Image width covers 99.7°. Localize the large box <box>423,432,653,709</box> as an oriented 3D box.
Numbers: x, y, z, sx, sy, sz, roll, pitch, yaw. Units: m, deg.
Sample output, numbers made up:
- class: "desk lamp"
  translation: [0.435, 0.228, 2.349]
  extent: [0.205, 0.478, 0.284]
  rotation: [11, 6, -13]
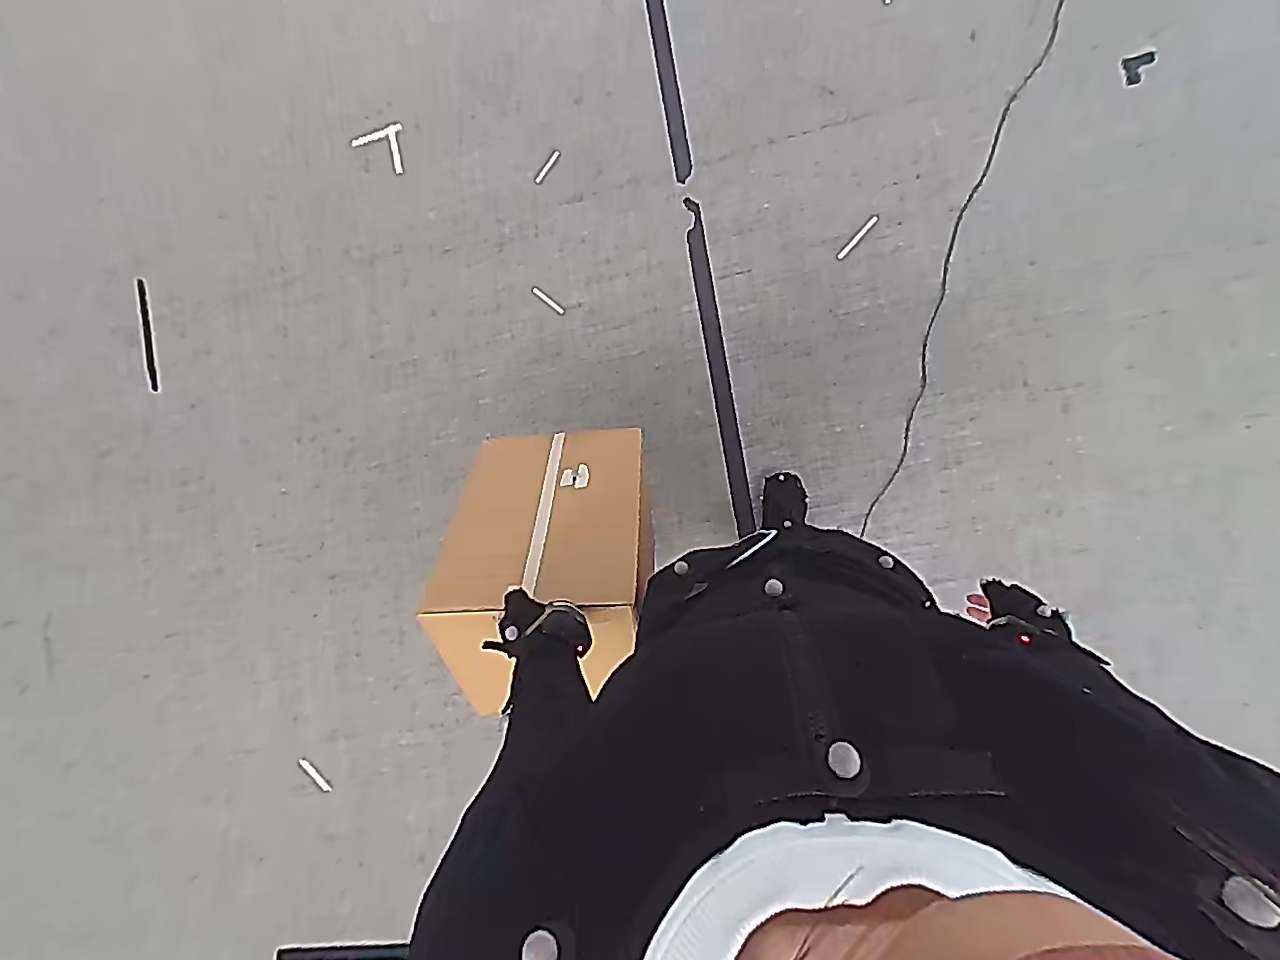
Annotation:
- class: "large box"
  translation: [-0.144, 0.160, 1.005]
  extent: [0.320, 0.408, 0.320]
  rotation: [-3, 131, 5]
